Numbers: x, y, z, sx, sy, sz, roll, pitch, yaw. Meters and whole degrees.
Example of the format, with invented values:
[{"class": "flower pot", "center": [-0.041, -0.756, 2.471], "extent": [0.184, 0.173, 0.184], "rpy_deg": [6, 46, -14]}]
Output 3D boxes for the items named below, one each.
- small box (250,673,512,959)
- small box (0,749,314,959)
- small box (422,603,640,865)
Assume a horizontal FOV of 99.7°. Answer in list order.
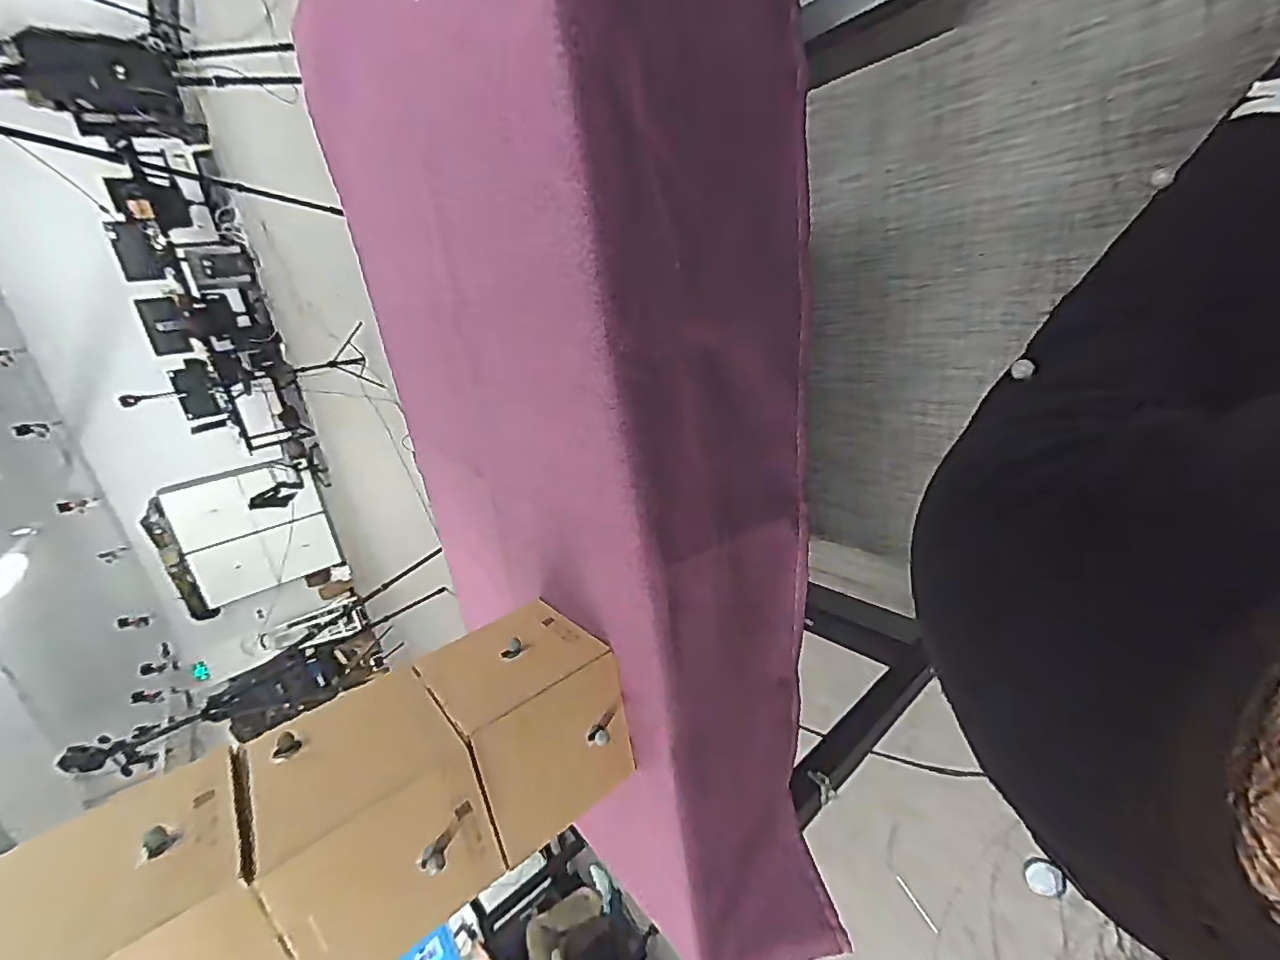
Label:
[{"class": "small box", "center": [-0.248, 0.320, 0.529], "extent": [0.179, 0.176, 0.168], "rpy_deg": [16, 121, 48]}, {"class": "small box", "center": [-0.374, 0.368, 0.434], "extent": [0.168, 0.176, 0.179], "rpy_deg": [18, 122, 48]}, {"class": "small box", "center": [-0.120, 0.268, 0.620], "extent": [0.168, 0.176, 0.179], "rpy_deg": [14, 119, 50]}]
